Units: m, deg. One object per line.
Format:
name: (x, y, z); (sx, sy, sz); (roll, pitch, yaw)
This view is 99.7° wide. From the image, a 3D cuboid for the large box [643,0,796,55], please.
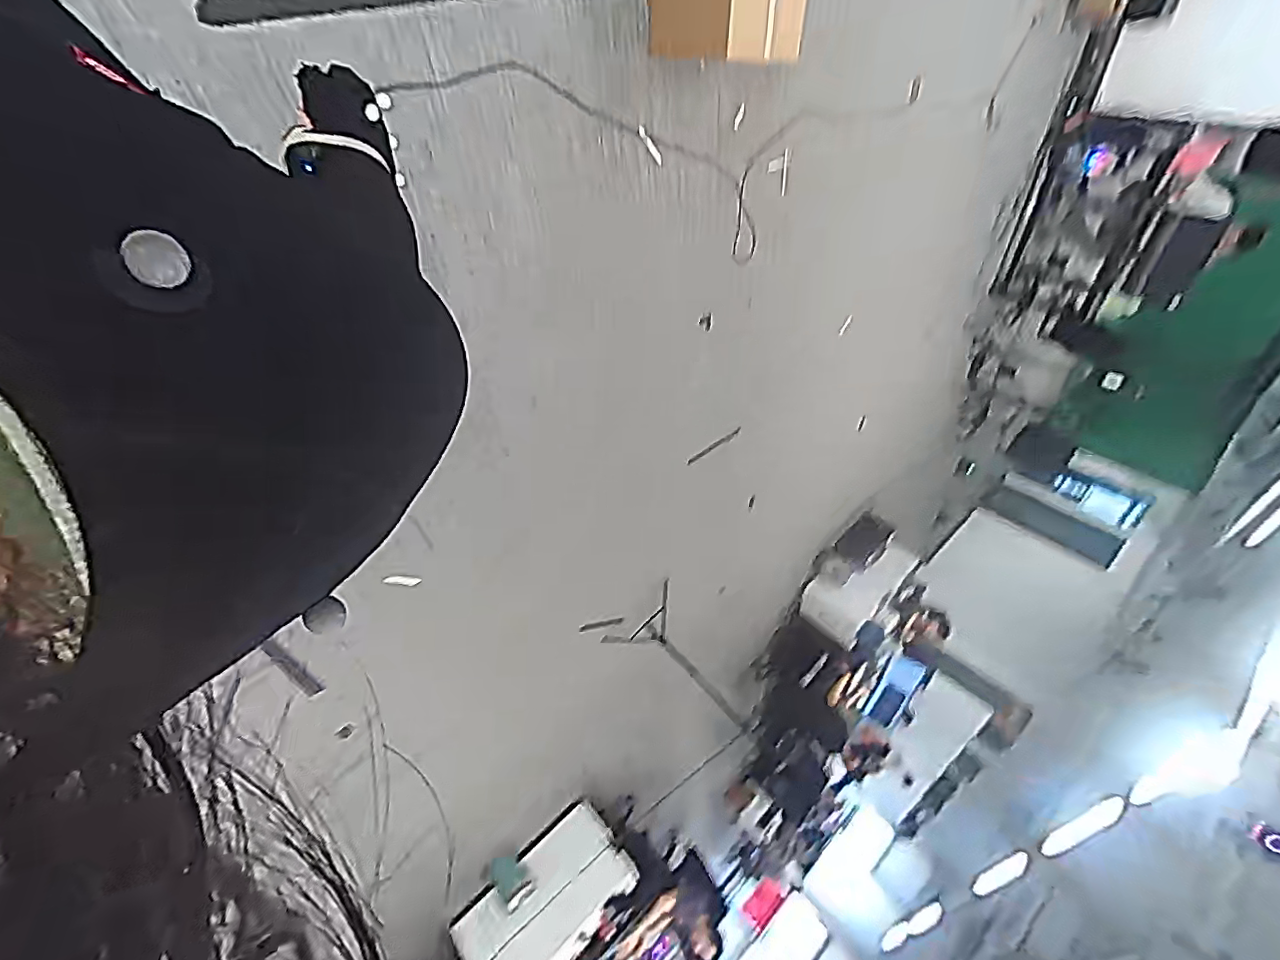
large box: (0.216, -1.398, 1.445); (0.320, 0.320, 0.408); (-29, 137, -31)
